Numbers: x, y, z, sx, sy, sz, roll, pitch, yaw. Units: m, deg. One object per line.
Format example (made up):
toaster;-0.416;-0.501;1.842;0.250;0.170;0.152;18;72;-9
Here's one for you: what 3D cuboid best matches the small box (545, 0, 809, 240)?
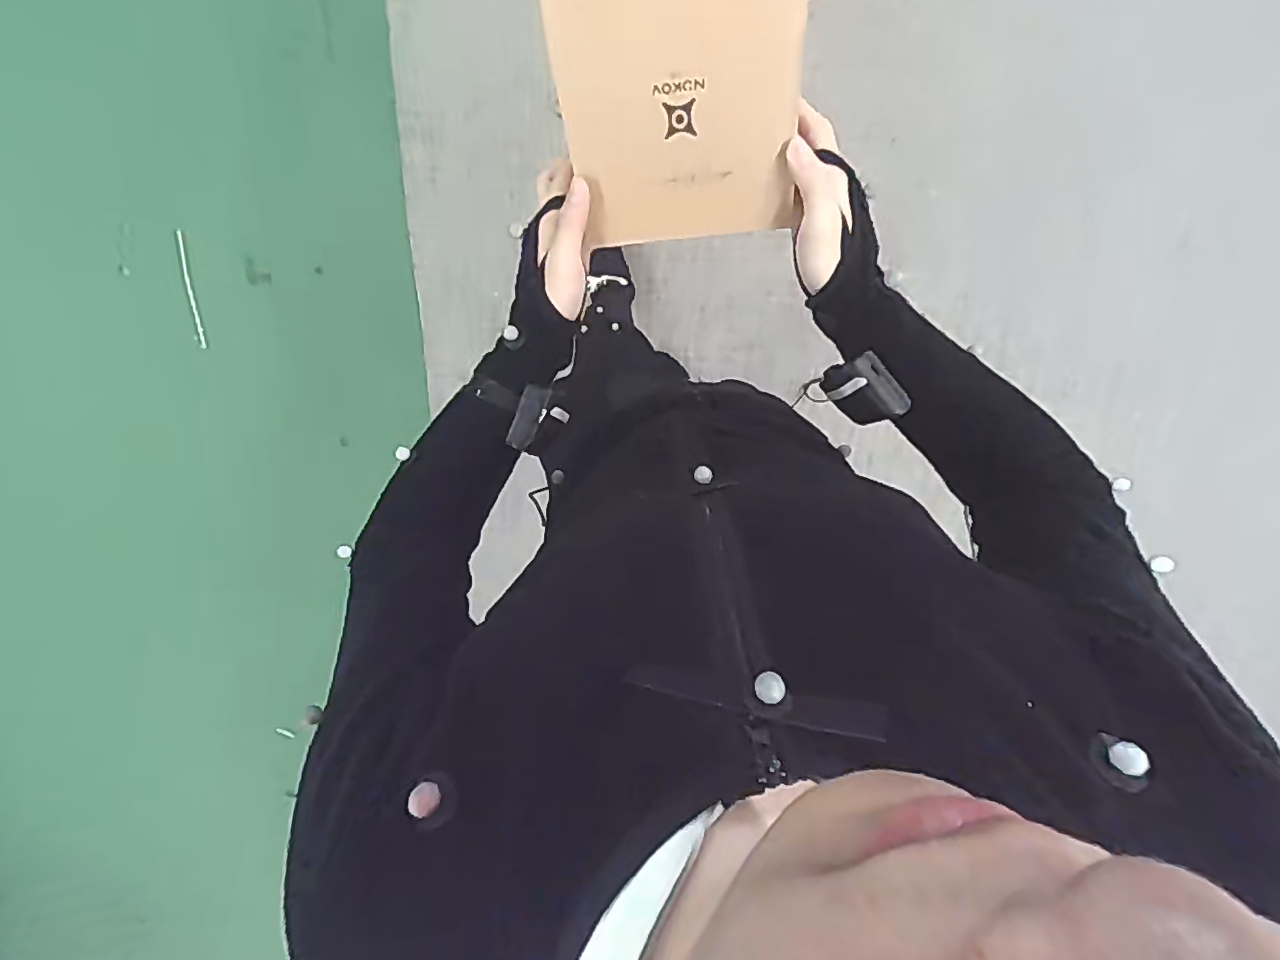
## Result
small box;0.031;-0.314;0.426;0.168;0.176;0.179;-2;135;7
